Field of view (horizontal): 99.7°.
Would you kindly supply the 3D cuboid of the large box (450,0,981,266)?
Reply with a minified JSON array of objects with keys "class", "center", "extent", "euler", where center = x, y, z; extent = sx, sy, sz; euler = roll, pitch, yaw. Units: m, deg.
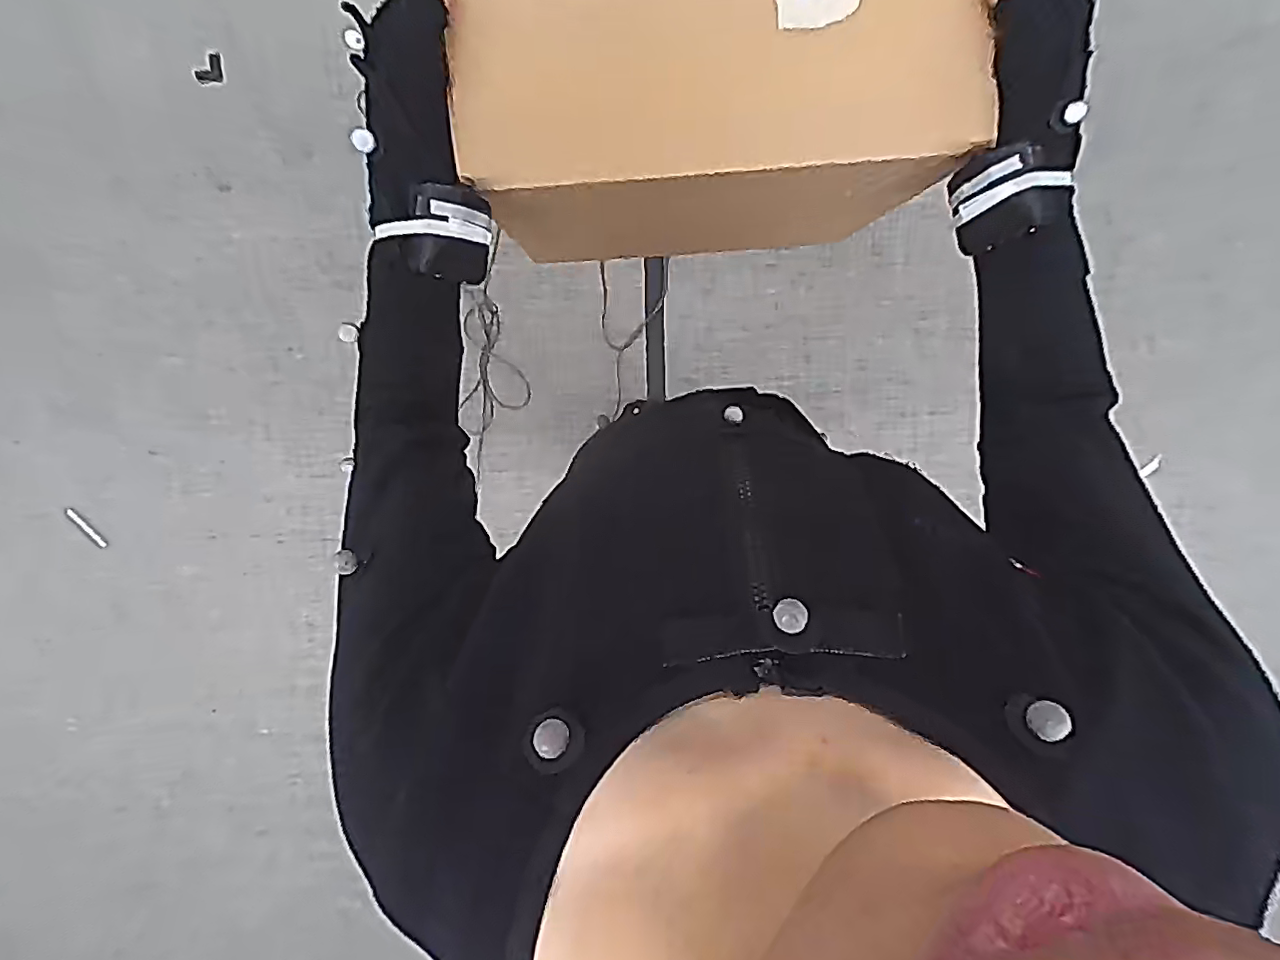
[{"class":"large box","center":[0.050,-0.419,0.542],"extent":[0.408,0.320,0.320],"euler":[-5,102,0]}]
